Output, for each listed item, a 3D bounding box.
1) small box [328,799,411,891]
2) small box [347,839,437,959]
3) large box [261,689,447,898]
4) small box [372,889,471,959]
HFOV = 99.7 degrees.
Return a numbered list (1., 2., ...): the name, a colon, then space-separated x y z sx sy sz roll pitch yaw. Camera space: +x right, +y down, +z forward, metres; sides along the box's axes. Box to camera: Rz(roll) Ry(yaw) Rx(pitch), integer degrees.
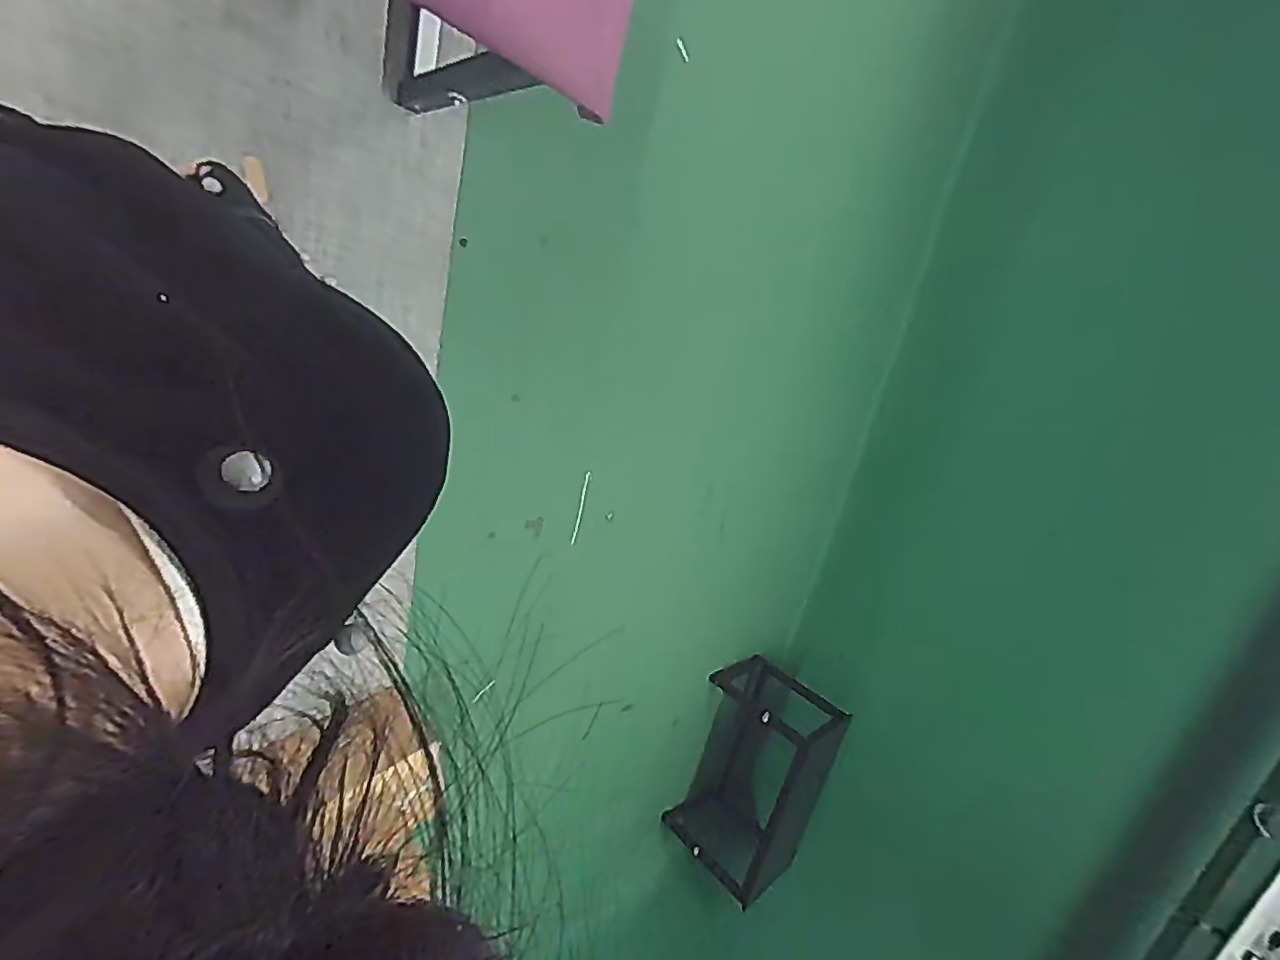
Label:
1. small box: -0.738 1.024 1.491 0.168 0.176 0.179 -19 122 -39
2. small box: -0.630 1.082 1.384 0.179 0.176 0.168 -21 123 -39
3. large box: -0.875 0.944 1.682 0.408 0.320 0.320 -21 125 -40
4. small box: -0.516 1.139 1.279 0.179 0.176 0.168 -19 122 -38
